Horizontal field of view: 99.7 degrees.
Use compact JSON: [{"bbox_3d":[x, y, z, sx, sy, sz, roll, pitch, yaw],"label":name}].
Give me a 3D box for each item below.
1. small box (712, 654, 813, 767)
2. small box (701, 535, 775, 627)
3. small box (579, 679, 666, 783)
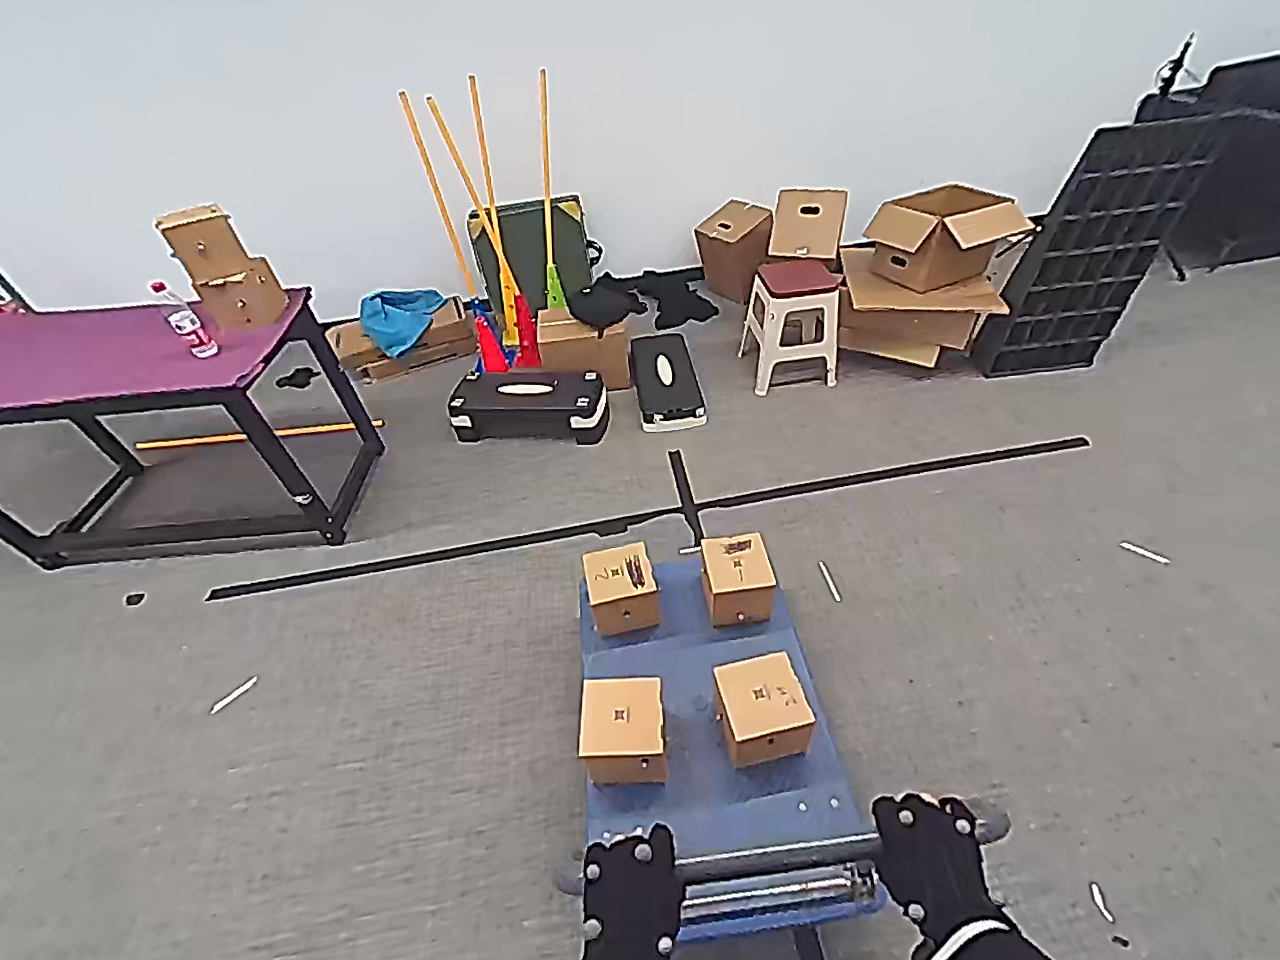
[{"bbox_3d":[0.270,0.526,1.228,0.179,0.176,0.168,-11,45,-5],"label":"small box"},{"bbox_3d":[0.261,0.278,1.483,0.168,0.176,0.179,-7,45,-1],"label":"small box"},{"bbox_3d":[-0.034,0.568,1.220,0.179,0.176,0.168,-3,43,2],"label":"small box"}]
